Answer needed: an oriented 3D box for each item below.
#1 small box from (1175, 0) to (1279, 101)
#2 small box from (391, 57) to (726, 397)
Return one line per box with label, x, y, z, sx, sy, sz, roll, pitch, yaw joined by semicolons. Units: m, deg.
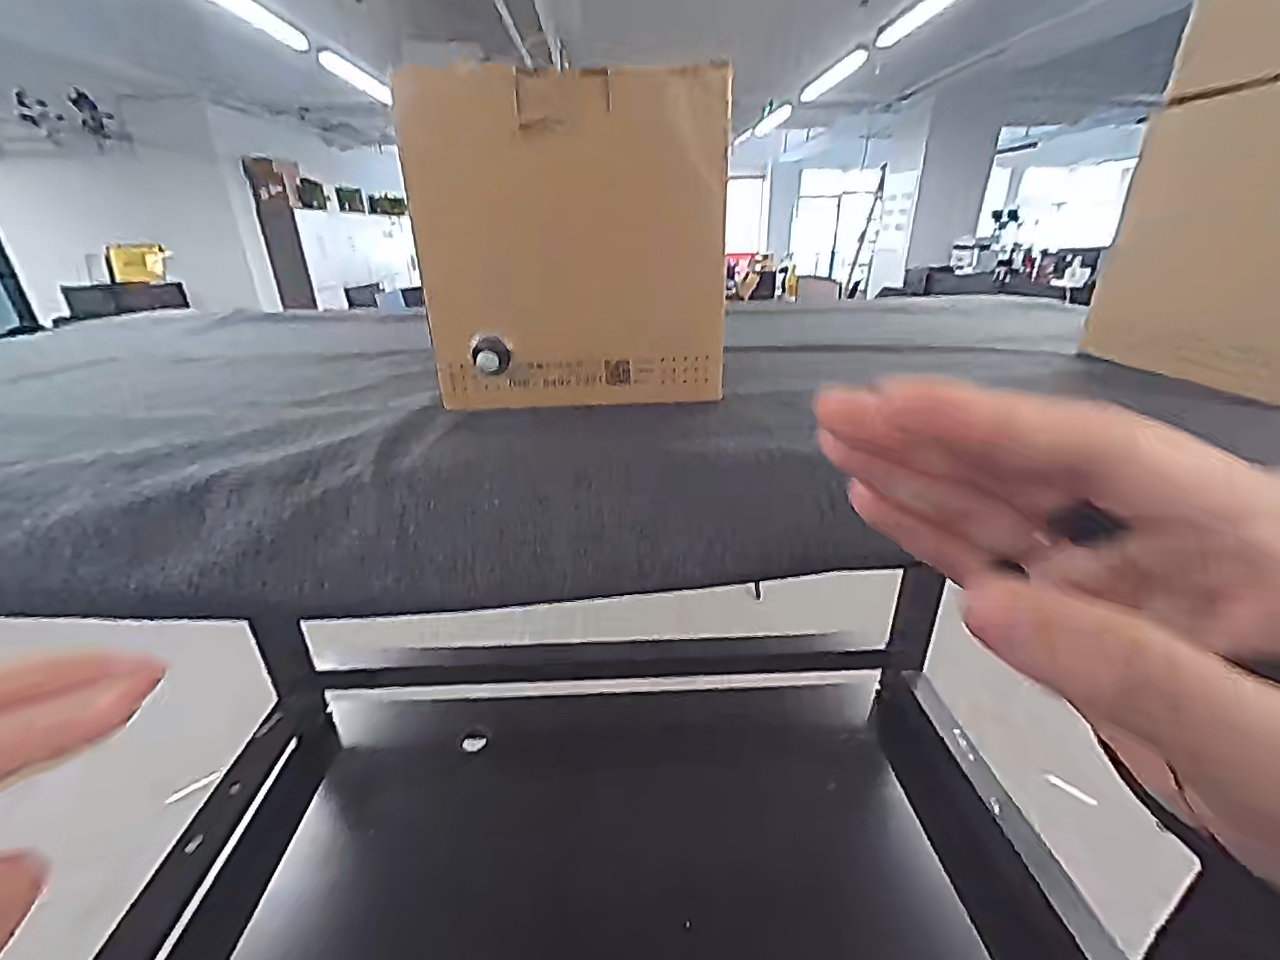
small box;0.425;-0.292;0.251;0.168;0.176;0.179;-2;25;-1
small box;-0.039;-0.154;0.364;0.168;0.176;0.179;-2;22;-3
